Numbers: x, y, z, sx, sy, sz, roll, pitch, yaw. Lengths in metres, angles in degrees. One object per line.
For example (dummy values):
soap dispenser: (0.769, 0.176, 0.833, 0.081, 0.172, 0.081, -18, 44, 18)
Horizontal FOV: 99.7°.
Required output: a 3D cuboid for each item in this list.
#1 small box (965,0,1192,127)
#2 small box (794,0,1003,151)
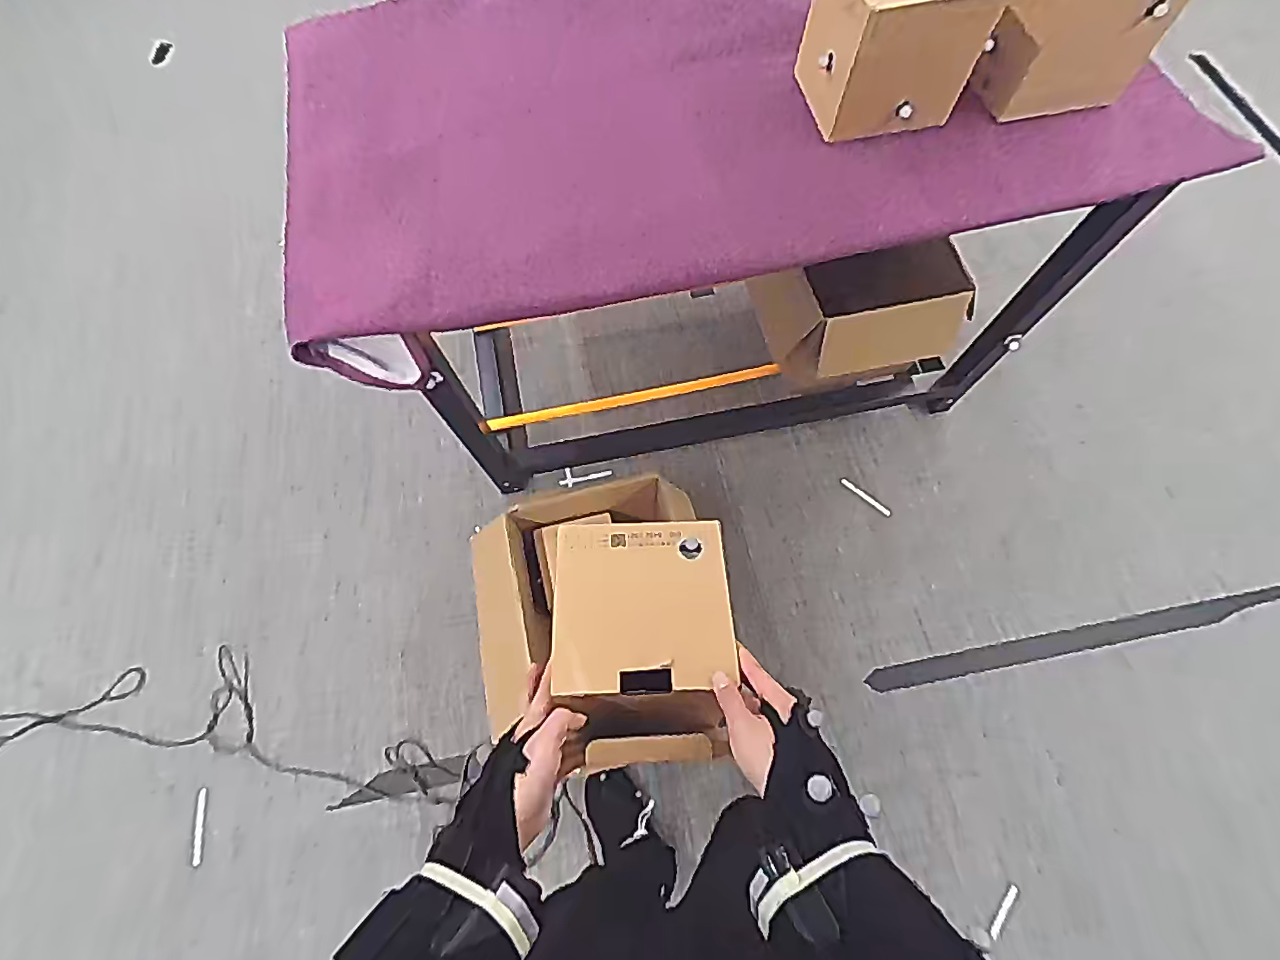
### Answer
small box: (0.577, -0.622, 0.738, 0.179, 0.176, 0.168, -10, 67, -3)
small box: (0.333, -0.588, 0.729, 0.179, 0.176, 0.168, -10, 68, -2)
